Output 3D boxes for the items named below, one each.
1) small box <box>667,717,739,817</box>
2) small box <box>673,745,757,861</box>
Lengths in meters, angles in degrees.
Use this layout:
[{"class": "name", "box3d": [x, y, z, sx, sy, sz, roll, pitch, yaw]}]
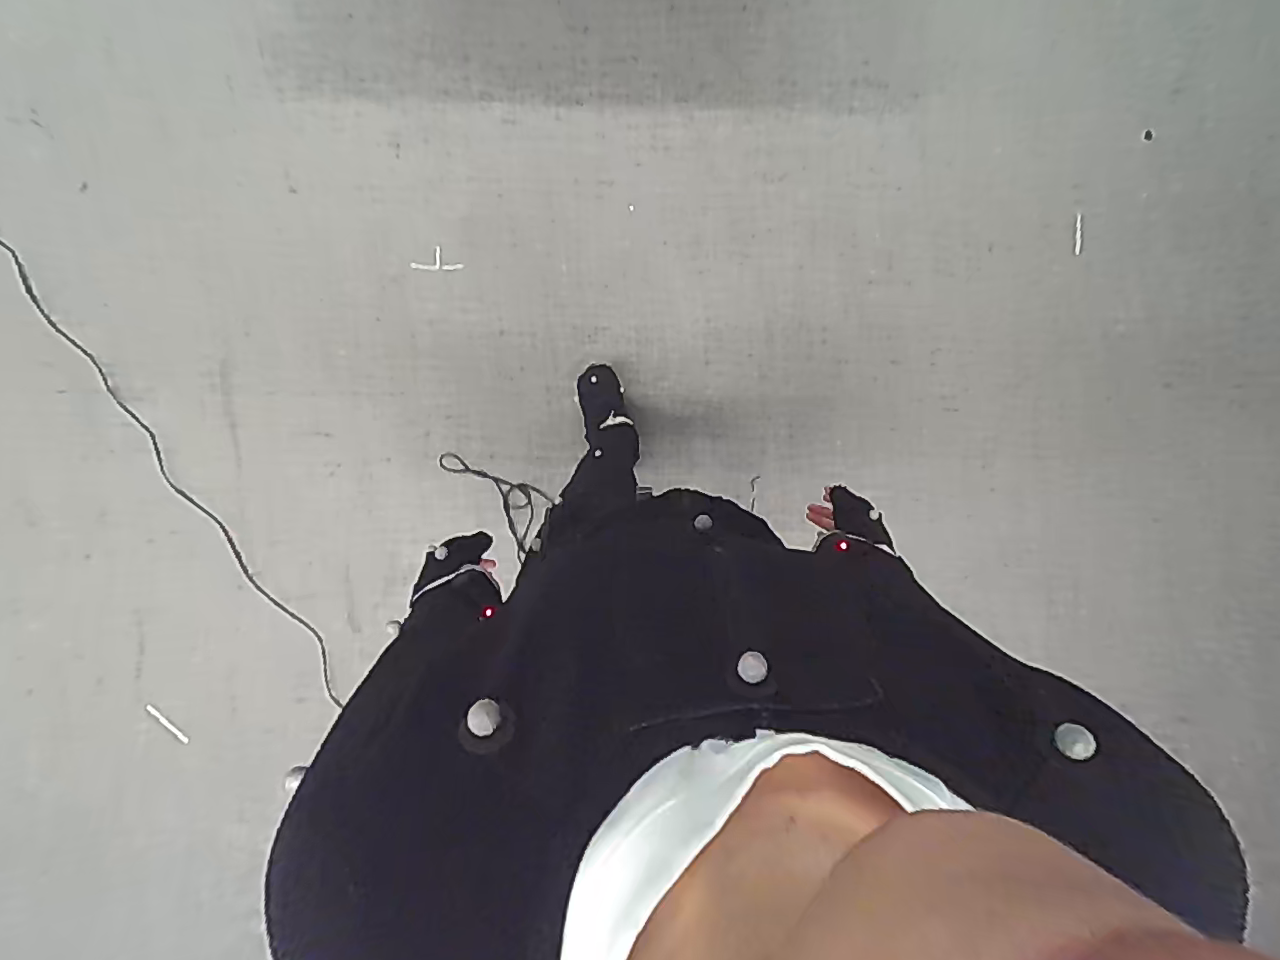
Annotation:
[{"class": "small box", "box3d": [0.163, 0.745, 1.406, 0.168, 0.176, 0.179, 3, 91, -3]}, {"class": "small box", "box3d": [0.166, 0.729, 1.241, 0.168, 0.176, 0.179, 0, 91, -3]}]
